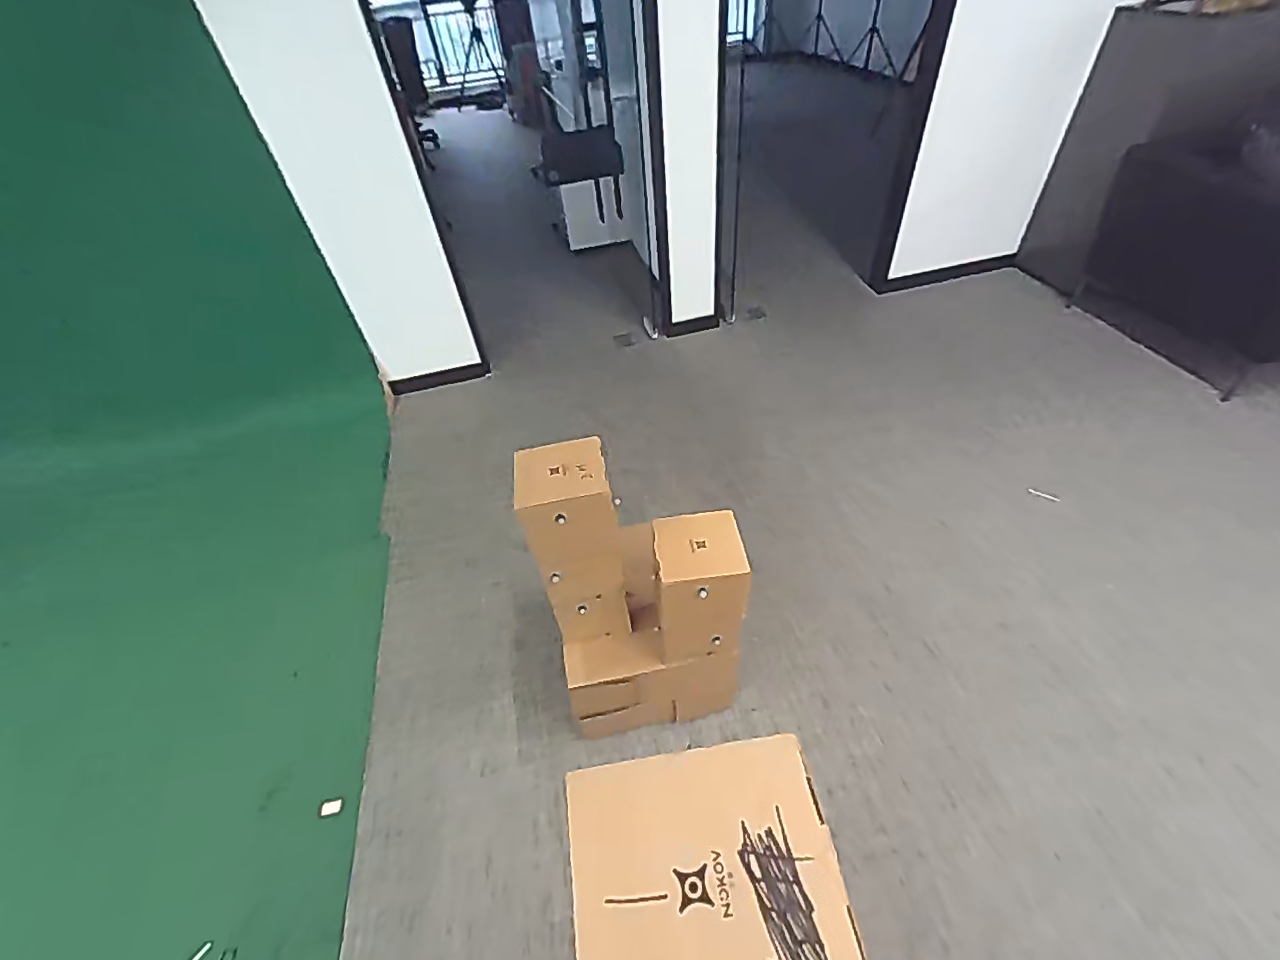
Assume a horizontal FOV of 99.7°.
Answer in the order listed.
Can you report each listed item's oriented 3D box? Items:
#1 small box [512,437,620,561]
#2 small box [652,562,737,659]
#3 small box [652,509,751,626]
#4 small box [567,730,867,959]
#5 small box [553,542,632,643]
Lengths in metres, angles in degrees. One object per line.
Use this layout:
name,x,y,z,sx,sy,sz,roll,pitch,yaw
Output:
small box,-0.146,0.041,1.075,0.179,0.176,0.168,-11,44,-2
small box,0.124,0.297,1.253,0.168,0.176,0.179,-7,43,-2
small box,0.122,0.185,1.134,0.179,0.176,0.168,-8,44,-2
small box,0.046,0.309,0.411,0.179,0.176,0.168,-9,51,-3
small box,-0.115,0.267,1.314,0.168,0.176,0.179,-10,43,-1
